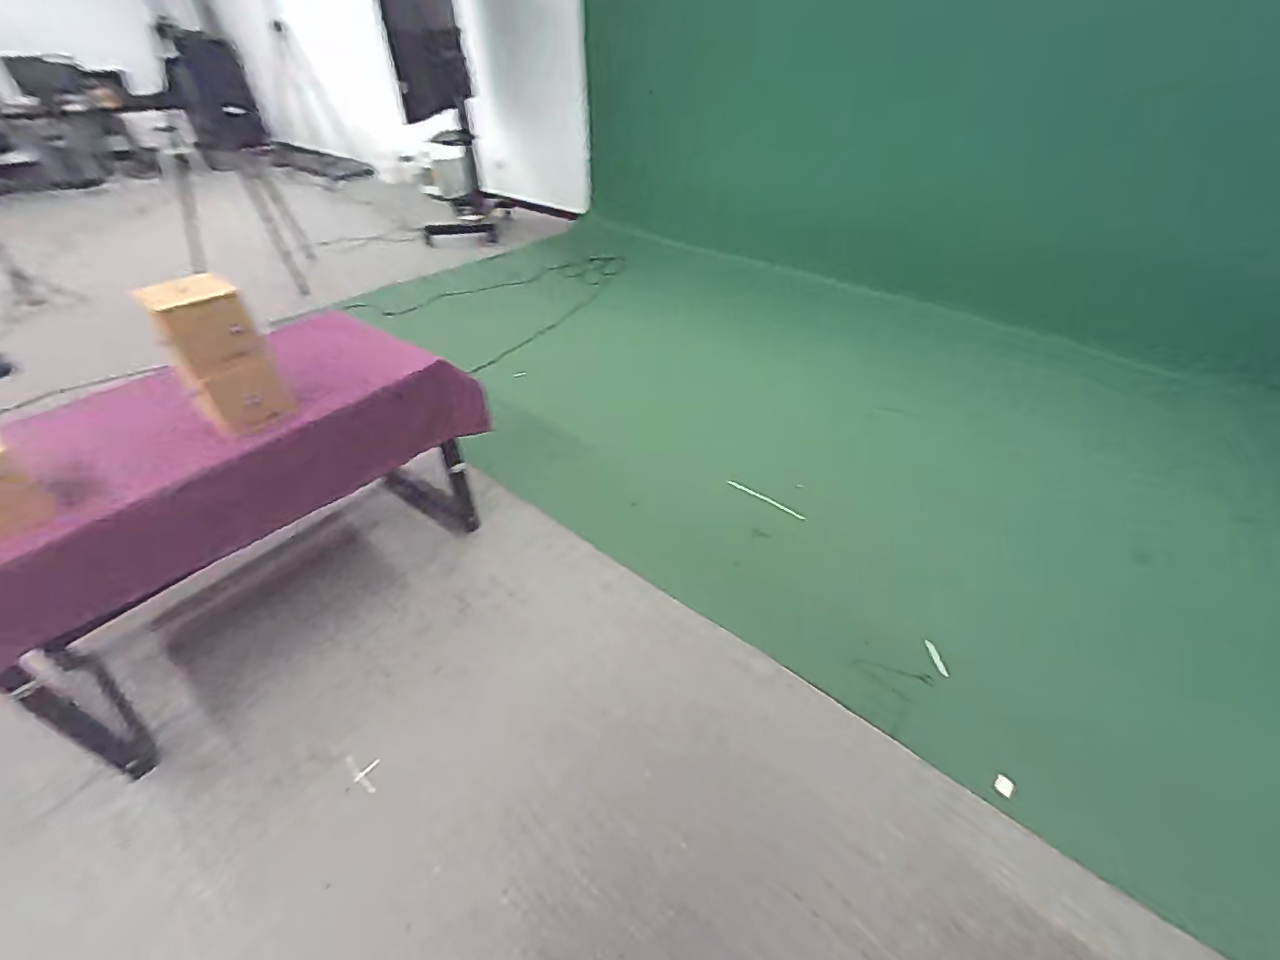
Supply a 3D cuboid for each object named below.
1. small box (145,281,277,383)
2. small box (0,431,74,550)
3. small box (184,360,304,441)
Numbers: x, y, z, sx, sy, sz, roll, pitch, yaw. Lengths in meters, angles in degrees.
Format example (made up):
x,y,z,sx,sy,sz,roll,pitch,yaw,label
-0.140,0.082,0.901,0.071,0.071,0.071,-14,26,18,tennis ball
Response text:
x,y,z,sx,sy,sz,roll,pitch,yaw,label
-1.011,-0.350,1.286,0.179,0.176,0.168,28,47,30,small box
-1.318,0.032,1.086,0.168,0.176,0.179,24,44,27,small box
-1.007,-0.222,1.388,0.179,0.176,0.168,27,46,29,small box
